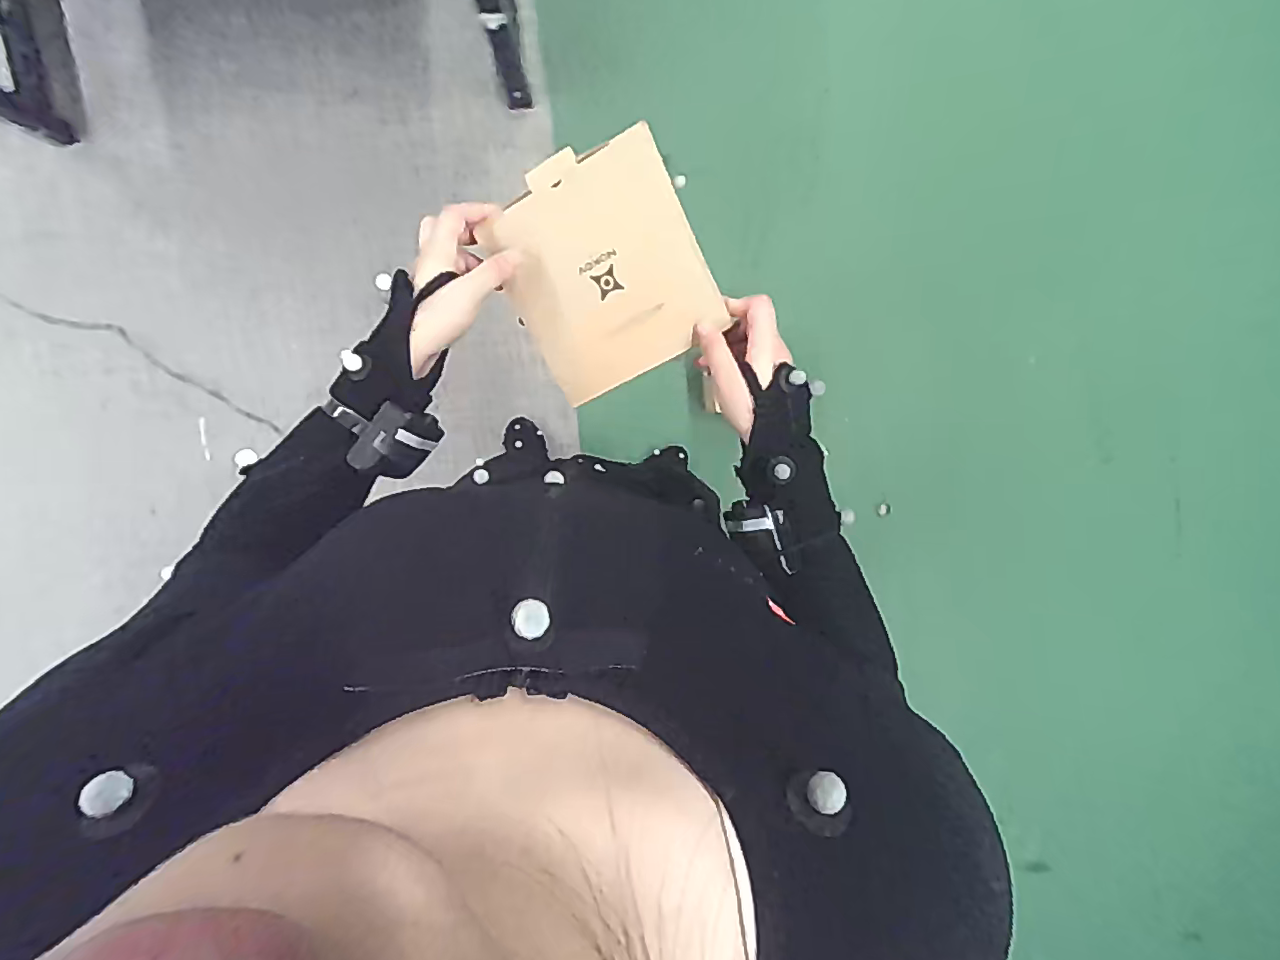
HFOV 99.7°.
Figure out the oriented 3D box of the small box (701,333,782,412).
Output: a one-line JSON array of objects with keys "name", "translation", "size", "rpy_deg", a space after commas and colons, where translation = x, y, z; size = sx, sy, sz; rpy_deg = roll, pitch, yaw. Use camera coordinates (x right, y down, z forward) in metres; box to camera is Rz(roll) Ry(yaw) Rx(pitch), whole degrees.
[{"name": "small box", "translation": [0.254, -0.268, 1.377], "size": [0.168, 0.176, 0.179], "rpy_deg": [-6, 98, -1]}]
